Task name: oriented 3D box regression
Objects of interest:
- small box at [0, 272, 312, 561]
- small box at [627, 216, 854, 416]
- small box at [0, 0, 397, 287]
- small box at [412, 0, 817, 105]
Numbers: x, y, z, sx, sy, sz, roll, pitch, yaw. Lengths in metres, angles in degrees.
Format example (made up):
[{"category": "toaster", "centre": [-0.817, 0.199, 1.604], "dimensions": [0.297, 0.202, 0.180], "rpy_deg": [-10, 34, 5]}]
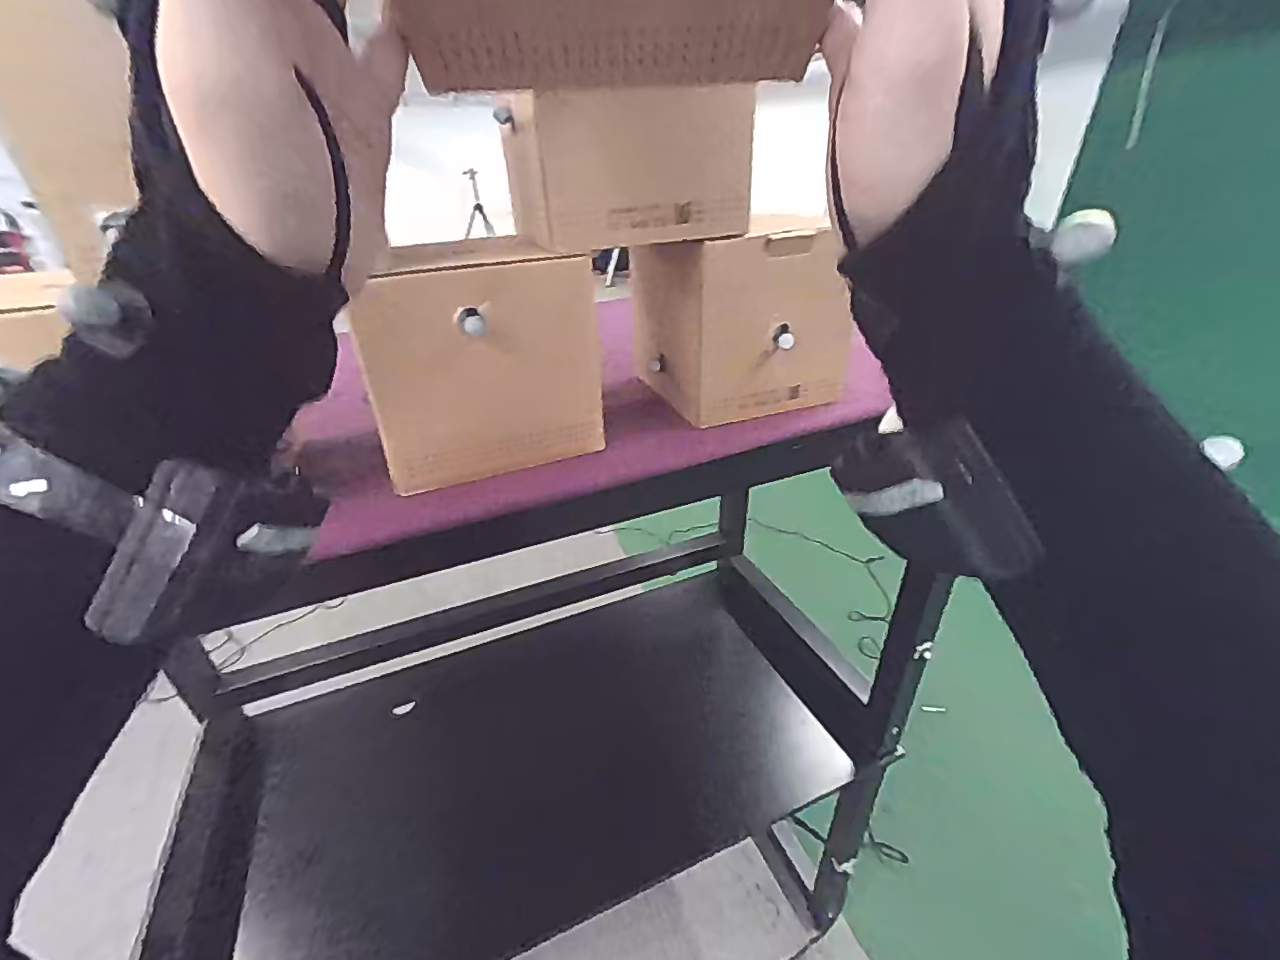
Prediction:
[{"category": "small box", "centre": [-0.383, -0.059, 0.408], "dimensions": [0.179, 0.176, 0.168], "rpy_deg": [-10, 31, -16]}, {"category": "small box", "centre": [0.094, -0.176, 0.576], "dimensions": [0.168, 0.176, 0.179], "rpy_deg": [-12, 32, -17]}, {"category": "small box", "centre": [-0.277, -0.234, 0.378], "dimensions": [0.168, 0.176, 0.179], "rpy_deg": [-13, 30, -18]}, {"category": "small box", "centre": [-0.011, -0.273, 0.197], "dimensions": [0.179, 0.168, 0.176], "rpy_deg": [-4, -8, -3]}]
